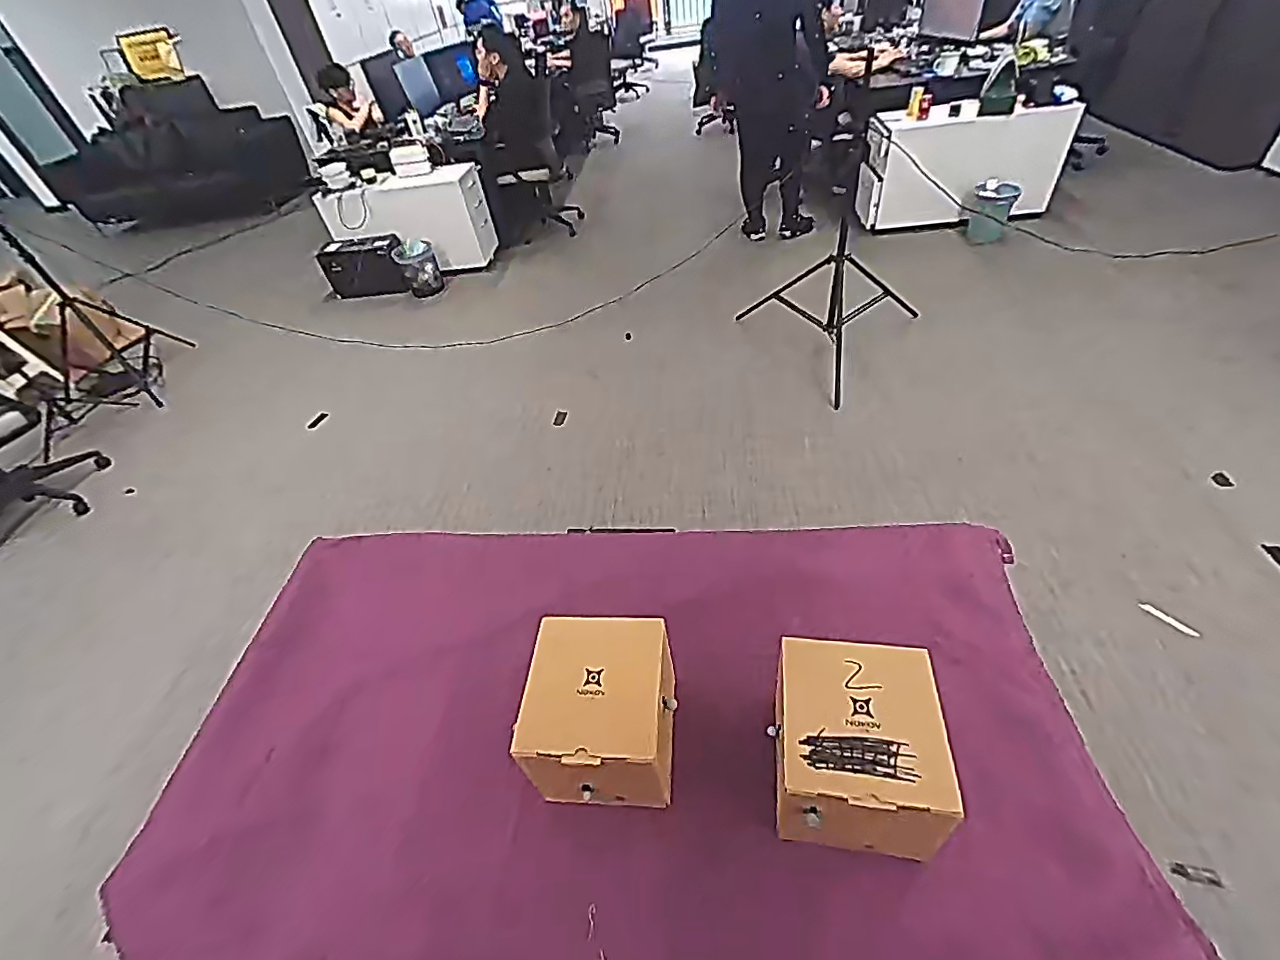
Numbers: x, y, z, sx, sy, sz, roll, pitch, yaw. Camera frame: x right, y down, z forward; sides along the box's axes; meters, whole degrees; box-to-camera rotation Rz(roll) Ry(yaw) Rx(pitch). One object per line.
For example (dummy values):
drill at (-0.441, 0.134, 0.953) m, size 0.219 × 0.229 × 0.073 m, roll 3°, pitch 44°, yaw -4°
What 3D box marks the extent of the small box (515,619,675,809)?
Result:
small box at (-0.044, 0.301, 0.703) m, size 0.168 × 0.176 × 0.179 m, roll -2°, pitch 45°, yaw 8°
